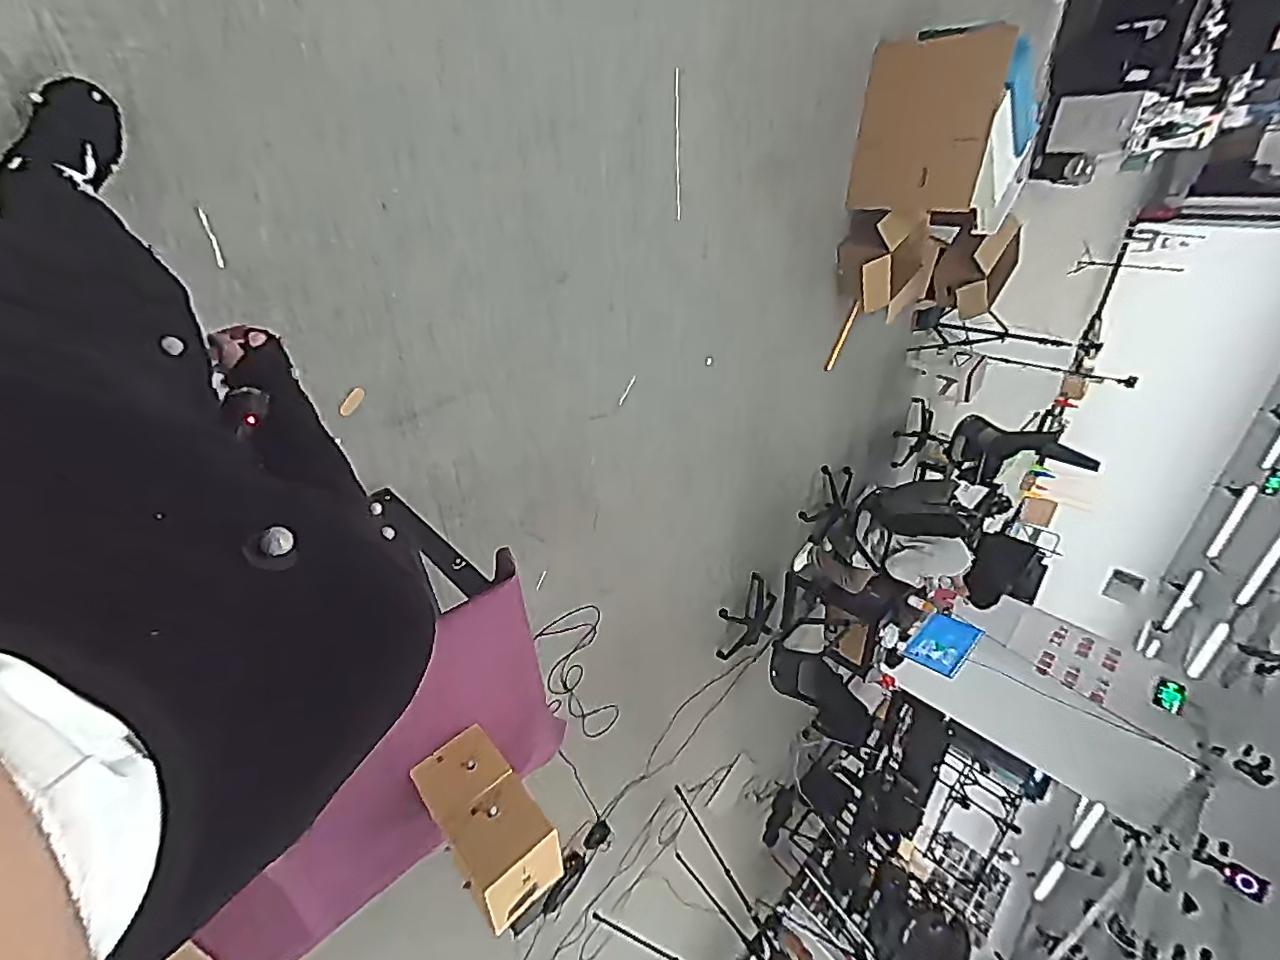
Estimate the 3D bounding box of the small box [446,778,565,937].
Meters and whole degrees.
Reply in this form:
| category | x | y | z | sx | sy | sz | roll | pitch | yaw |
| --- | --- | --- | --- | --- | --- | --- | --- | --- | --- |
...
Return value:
| category | x | y | z | sx | sy | sz | roll | pitch | yaw |
| --- | --- | --- | --- | --- | --- | --- | --- | --- | --- |
| small box | -0.276 | 0.766 | 1.115 | 0.168 | 0.176 | 0.179 | -26 | 127 | -37 |

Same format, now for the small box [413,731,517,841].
| category | x | y | z | sx | sy | sz | roll | pitch | yaw |
| --- | --- | --- | --- | --- | --- | --- | --- | --- | --- |
| small box | -0.385 | 0.705 | 1.223 | 0.168 | 0.176 | 0.179 | -30 | 130 | -34 |
